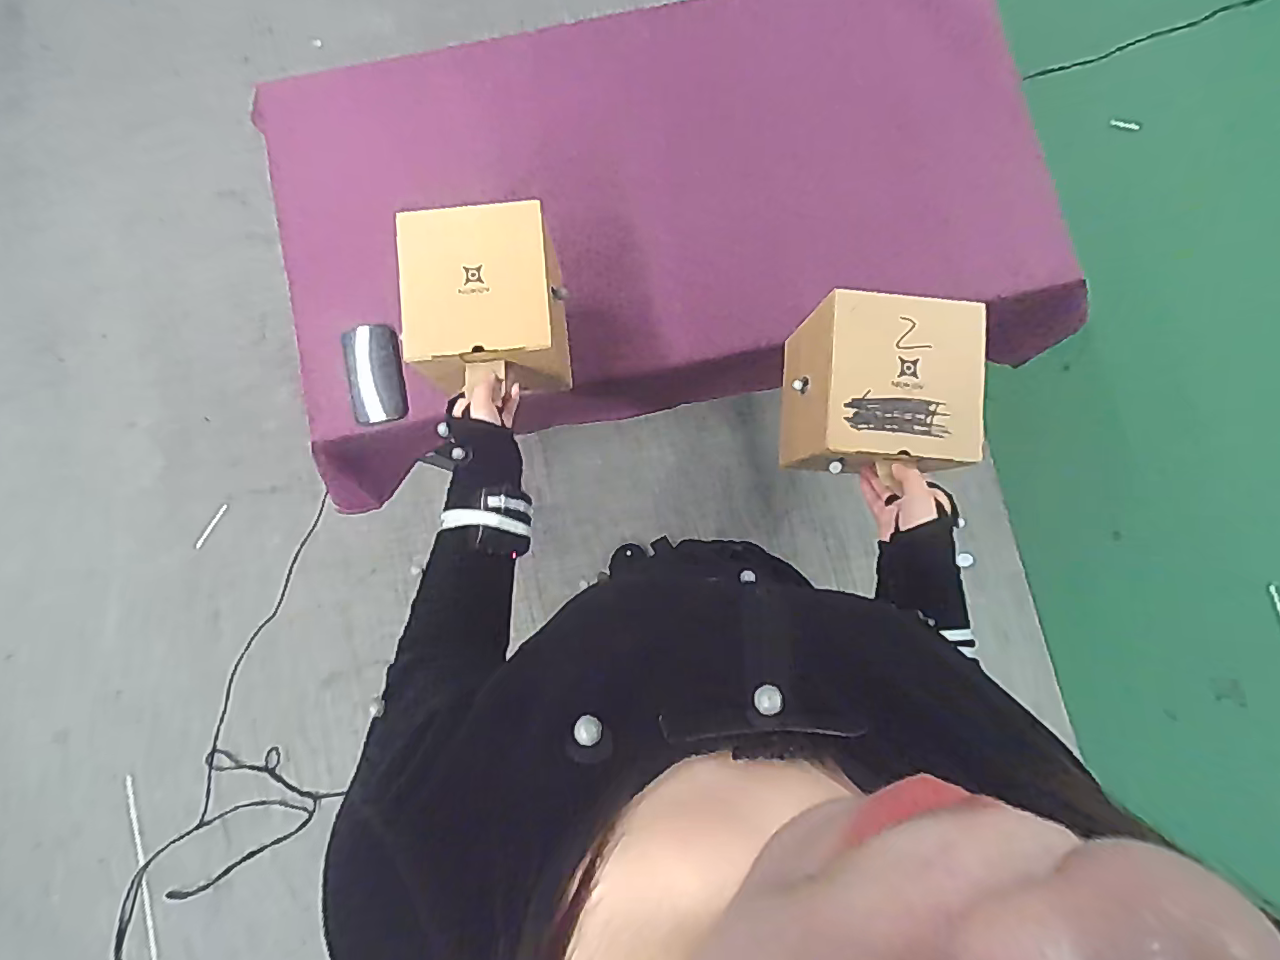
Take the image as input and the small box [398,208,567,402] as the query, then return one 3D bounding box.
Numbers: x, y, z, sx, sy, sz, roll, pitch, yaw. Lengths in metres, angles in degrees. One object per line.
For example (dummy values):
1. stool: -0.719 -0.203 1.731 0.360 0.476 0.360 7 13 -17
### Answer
1. small box: -0.185 -0.207 0.676 0.168 0.176 0.179 -5 85 -2
